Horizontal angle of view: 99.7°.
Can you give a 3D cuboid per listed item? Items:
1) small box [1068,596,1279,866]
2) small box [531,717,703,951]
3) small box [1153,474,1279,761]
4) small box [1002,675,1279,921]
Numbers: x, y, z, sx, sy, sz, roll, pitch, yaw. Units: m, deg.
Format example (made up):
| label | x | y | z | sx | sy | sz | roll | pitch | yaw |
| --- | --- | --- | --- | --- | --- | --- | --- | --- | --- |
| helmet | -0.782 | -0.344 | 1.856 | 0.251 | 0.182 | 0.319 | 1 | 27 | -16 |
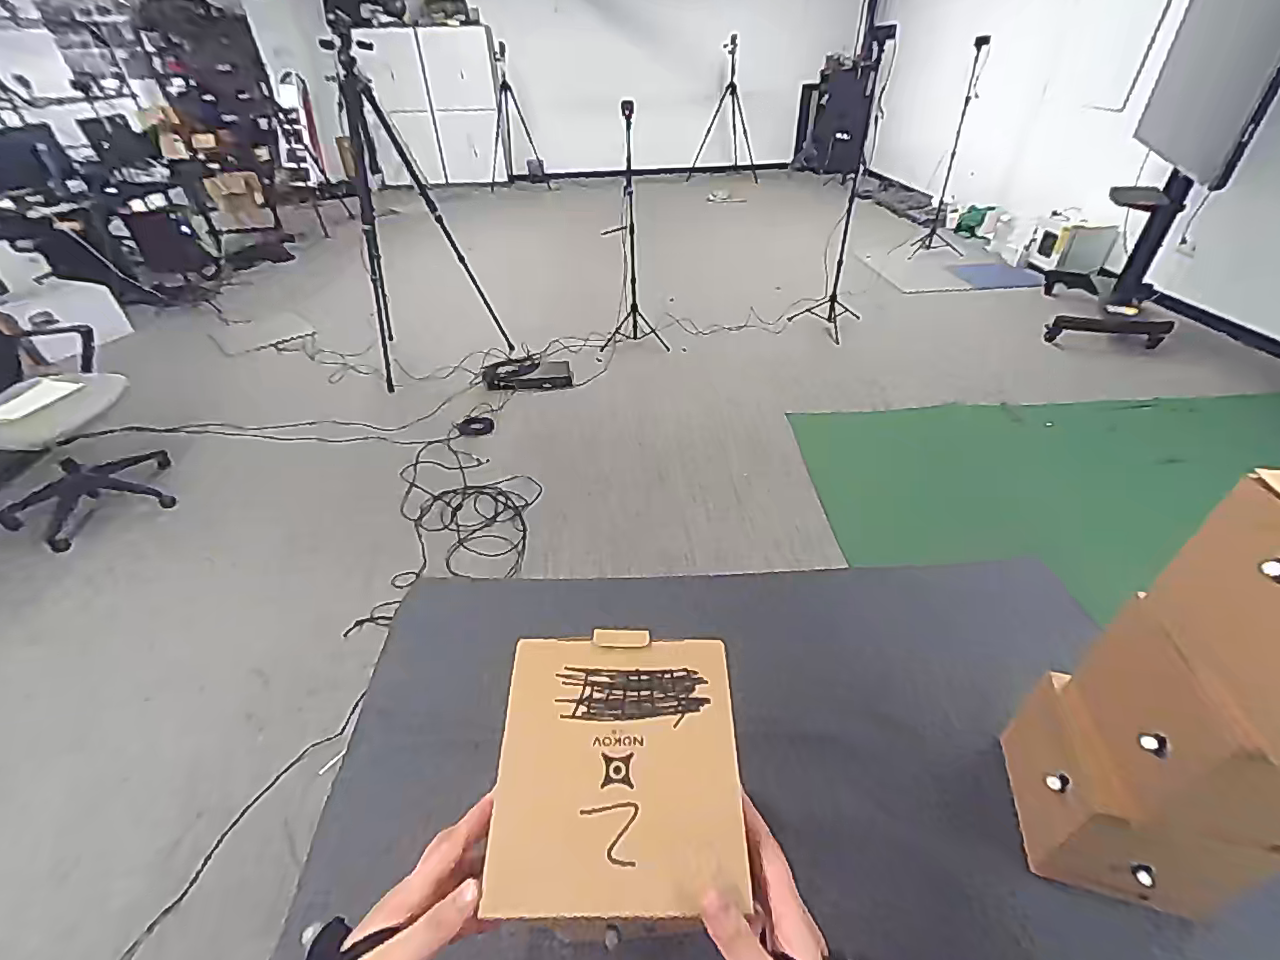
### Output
| label | x | y | z | sx | sy | sz | roll | pitch | yaw |
| --- | --- | --- | --- | --- | --- | --- | --- | --- | --- |
| small box | 0.571 | 0.243 | 0.525 | 0.168 | 0.176 | 0.179 | 7 | 36 | 10 |
| small box | -0.024 | 0.402 | 0.623 | 0.168 | 0.176 | 0.179 | -3 | 37 | -2 |
| small box | 0.574 | 0.116 | 0.422 | 0.168 | 0.176 | 0.179 | 3 | 37 | 6 |
| small box | 0.557 | 0.367 | 0.631 | 0.168 | 0.176 | 0.179 | 10 | 37 | 14 |
